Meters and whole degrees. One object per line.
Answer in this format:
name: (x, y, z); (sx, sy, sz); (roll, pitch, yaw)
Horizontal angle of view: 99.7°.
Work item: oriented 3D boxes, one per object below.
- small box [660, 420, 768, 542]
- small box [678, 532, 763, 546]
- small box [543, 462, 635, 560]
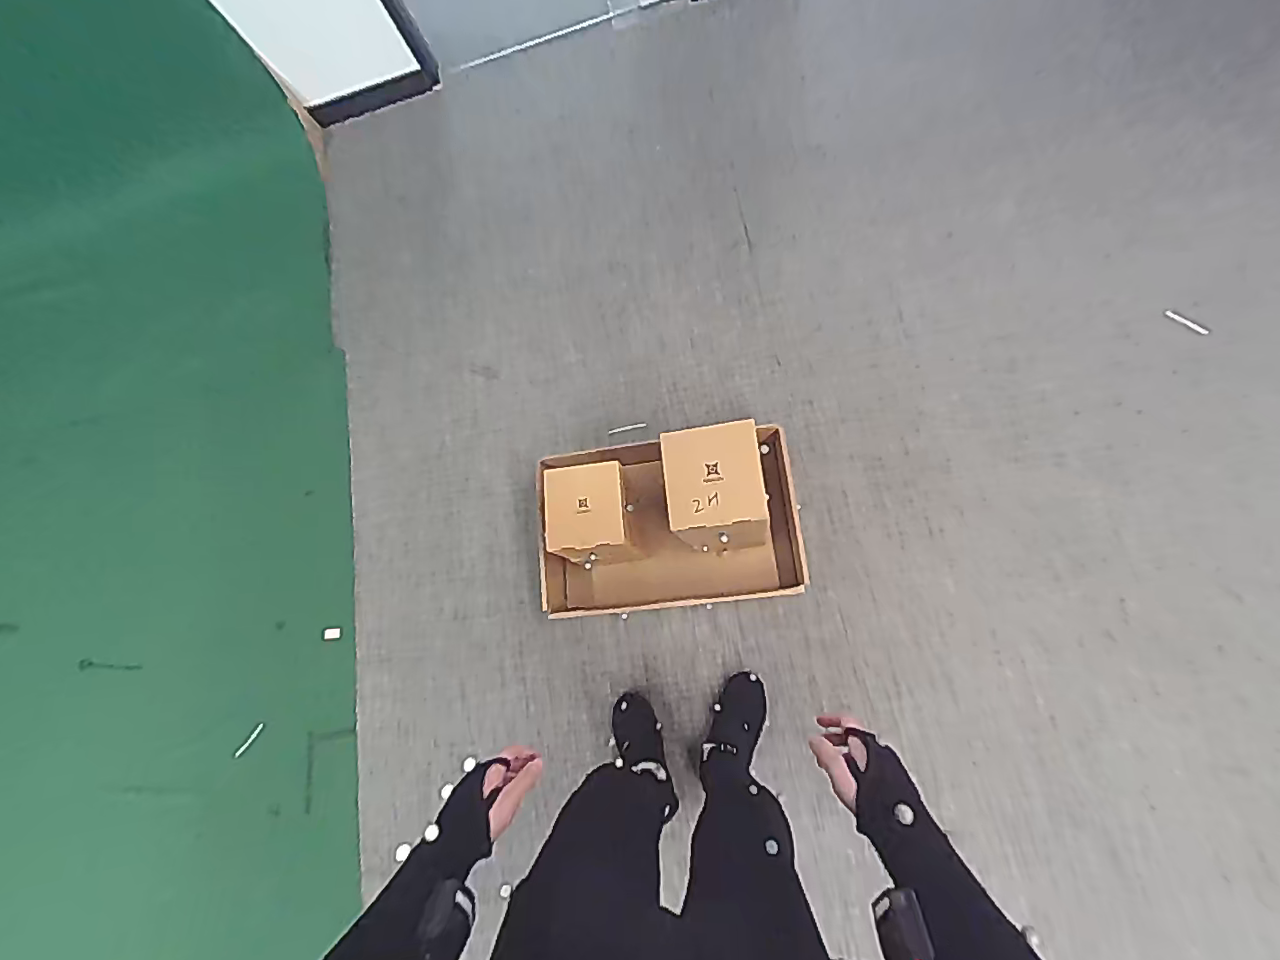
small box: (0.135, 0.010, 0.982); (0.168, 0.176, 0.179); (-8, 76, 11)
small box: (0.168, 0.044, 1.140); (0.168, 0.176, 0.179); (-6, 75, 10)
small box: (-0.108, 0.075, 1.184); (0.168, 0.176, 0.179); (-7, 75, 8)
